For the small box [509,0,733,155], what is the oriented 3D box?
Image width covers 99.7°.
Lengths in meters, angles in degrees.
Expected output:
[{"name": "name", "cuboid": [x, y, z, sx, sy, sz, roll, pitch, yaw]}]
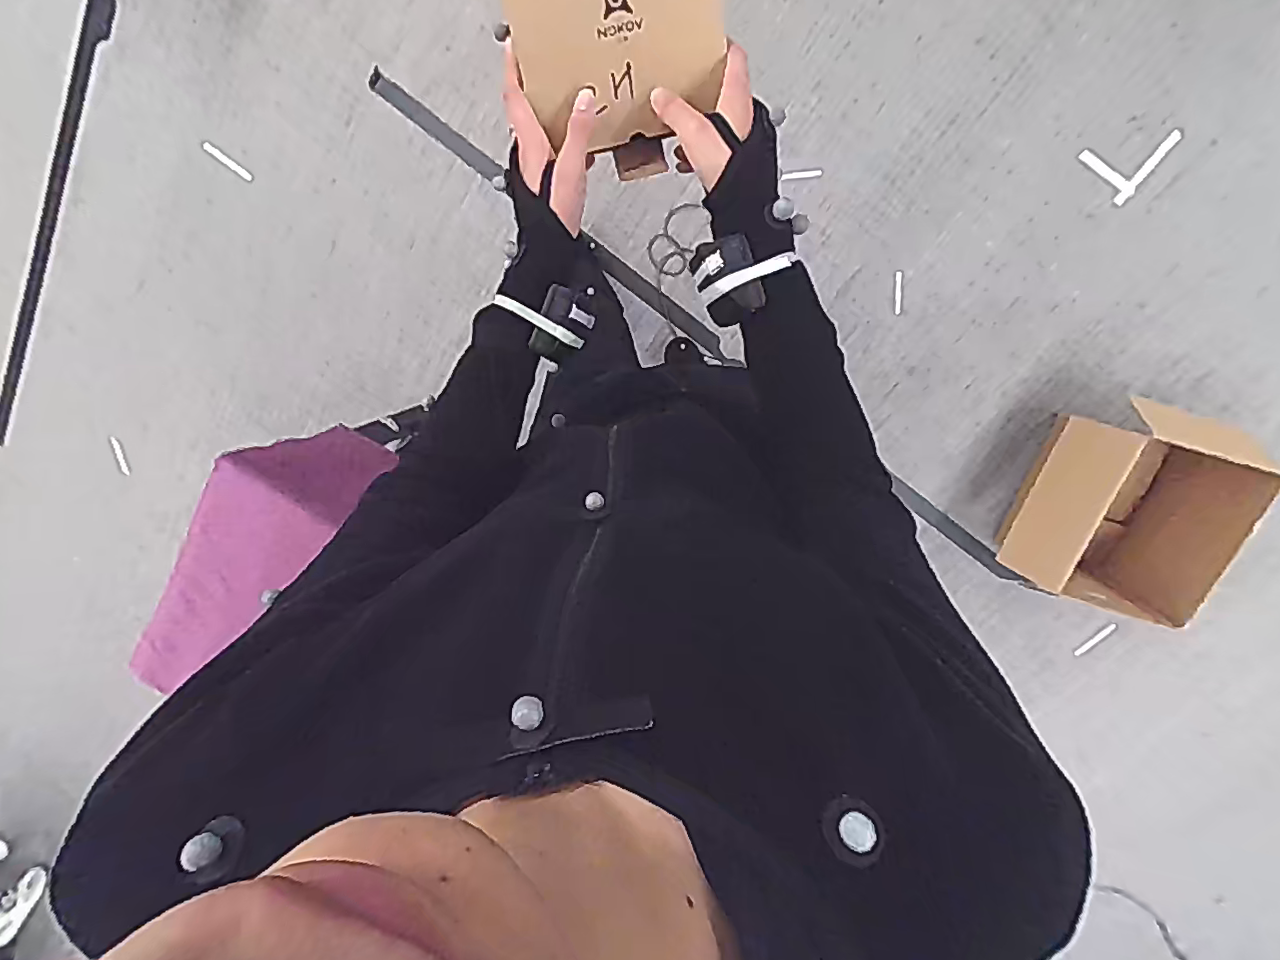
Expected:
[{"name": "small box", "cuboid": [-0.025, -0.401, 0.476, 0.168, 0.176, 0.179, -12, 123, 1]}]
